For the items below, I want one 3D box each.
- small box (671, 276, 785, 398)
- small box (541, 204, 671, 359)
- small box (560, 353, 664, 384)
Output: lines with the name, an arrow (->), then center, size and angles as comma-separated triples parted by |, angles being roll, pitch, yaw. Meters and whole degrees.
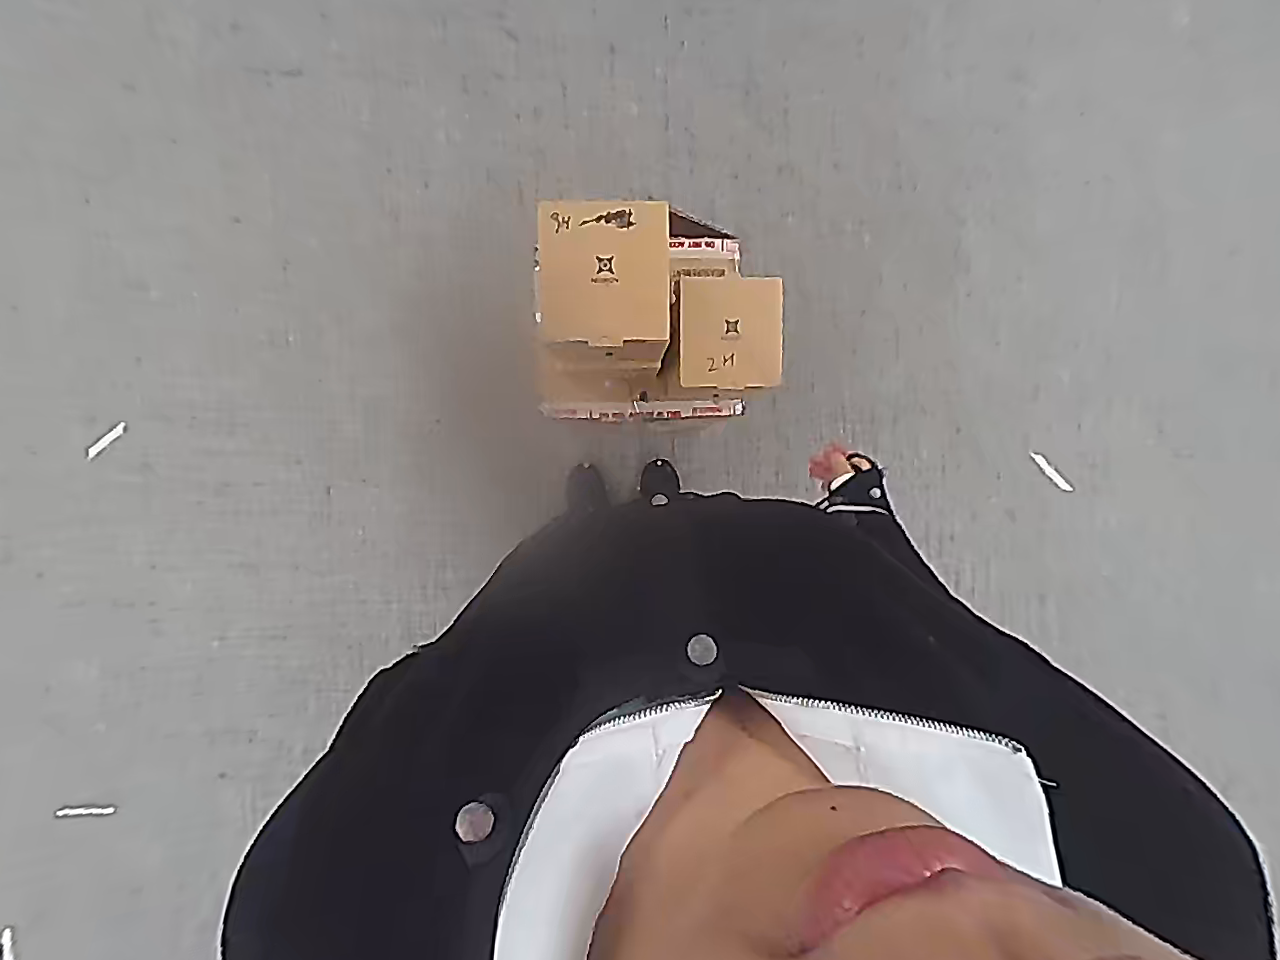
small box -> 0.144, -0.238, 0.934 | 0.168, 0.176, 0.179 | -1, 94, -3
small box -> -0.042, -0.265, 0.761 | 0.168, 0.176, 0.179 | -1, 95, -1
small box -> -0.049, -0.264, 0.925 | 0.168, 0.176, 0.179 | -3, 95, -1
